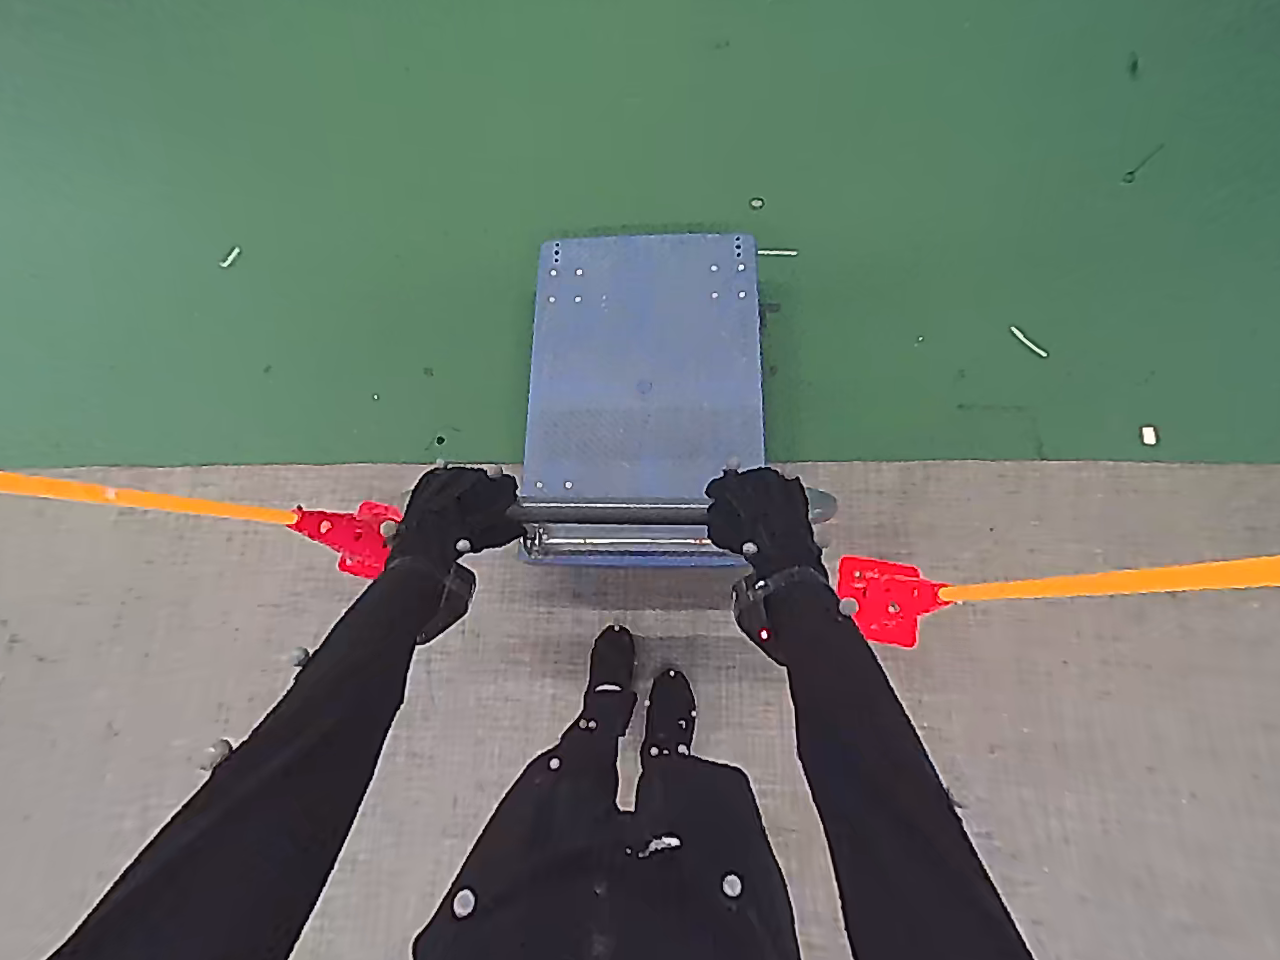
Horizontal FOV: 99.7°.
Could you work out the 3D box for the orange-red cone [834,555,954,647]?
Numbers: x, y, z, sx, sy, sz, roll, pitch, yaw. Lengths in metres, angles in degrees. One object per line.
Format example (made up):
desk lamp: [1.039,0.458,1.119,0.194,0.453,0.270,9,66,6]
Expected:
orange-red cone: [0.575,0.254,1.165,0.198,0.360,0.199,11,77,7]
